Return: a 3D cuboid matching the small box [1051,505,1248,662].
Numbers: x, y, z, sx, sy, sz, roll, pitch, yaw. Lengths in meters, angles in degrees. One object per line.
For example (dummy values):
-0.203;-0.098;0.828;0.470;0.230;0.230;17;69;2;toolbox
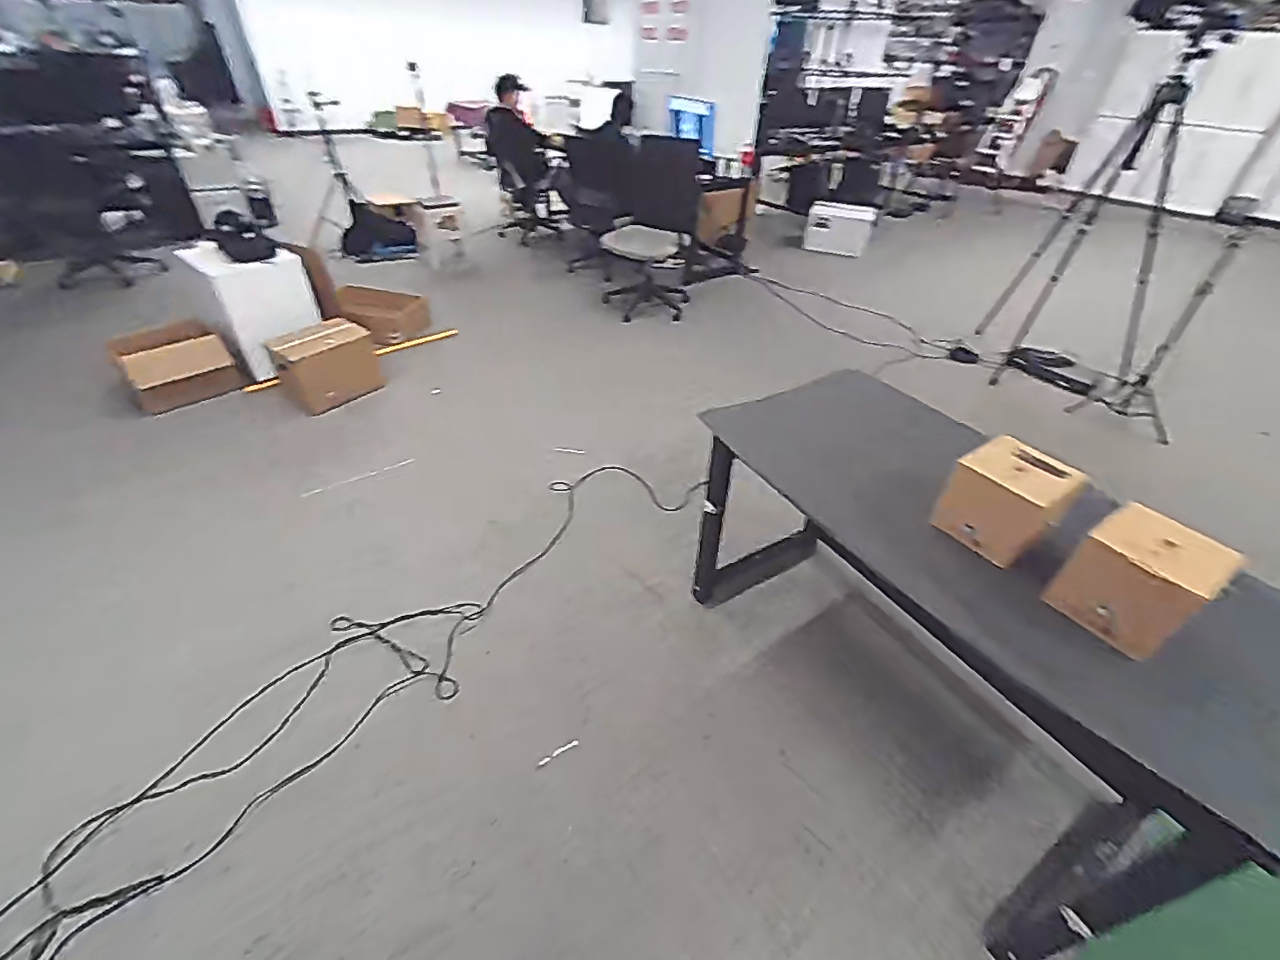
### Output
0.866;0.177;0.936;0.179;0.176;0.168;-21;43;-26;small box
